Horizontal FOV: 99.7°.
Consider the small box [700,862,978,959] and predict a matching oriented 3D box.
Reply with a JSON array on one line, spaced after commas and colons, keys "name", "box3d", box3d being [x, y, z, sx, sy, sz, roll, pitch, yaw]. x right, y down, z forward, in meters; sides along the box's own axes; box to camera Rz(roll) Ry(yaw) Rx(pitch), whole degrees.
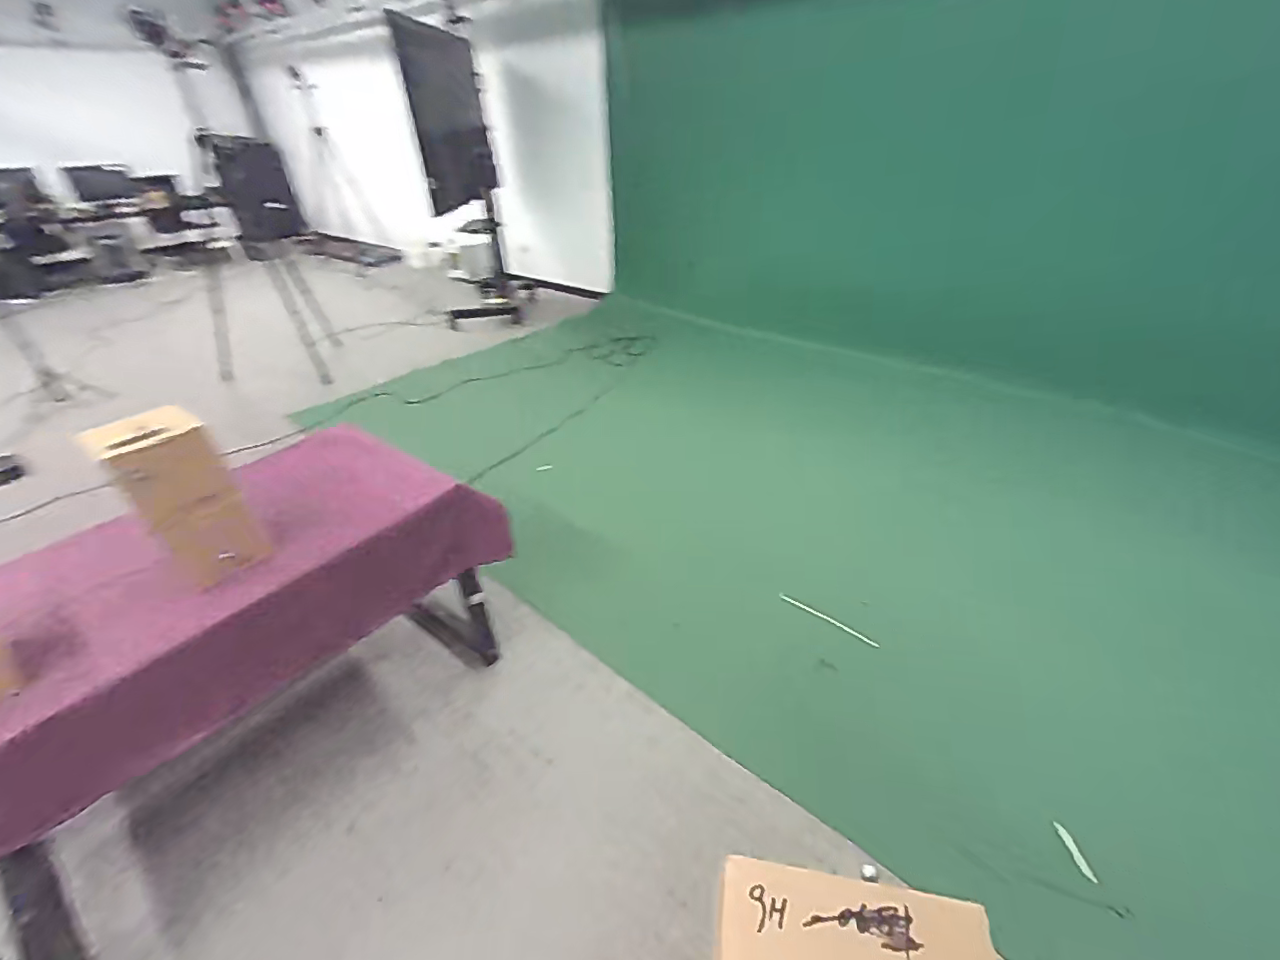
[{"name": "small box", "box3d": [0.120, 0.384, 0.359, 0.168, 0.176, 0.179, 4, 48, 8]}]

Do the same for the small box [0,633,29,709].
[{"name": "small box", "box3d": [-1.194, 0.321, 0.907, 0.179, 0.176, 0.168, 20, 40, 32]}]

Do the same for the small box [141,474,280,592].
[{"name": "small box", "box3d": [-0.940, 0.116, 1.192, 0.179, 0.176, 0.168, 24, 43, 33]}]
